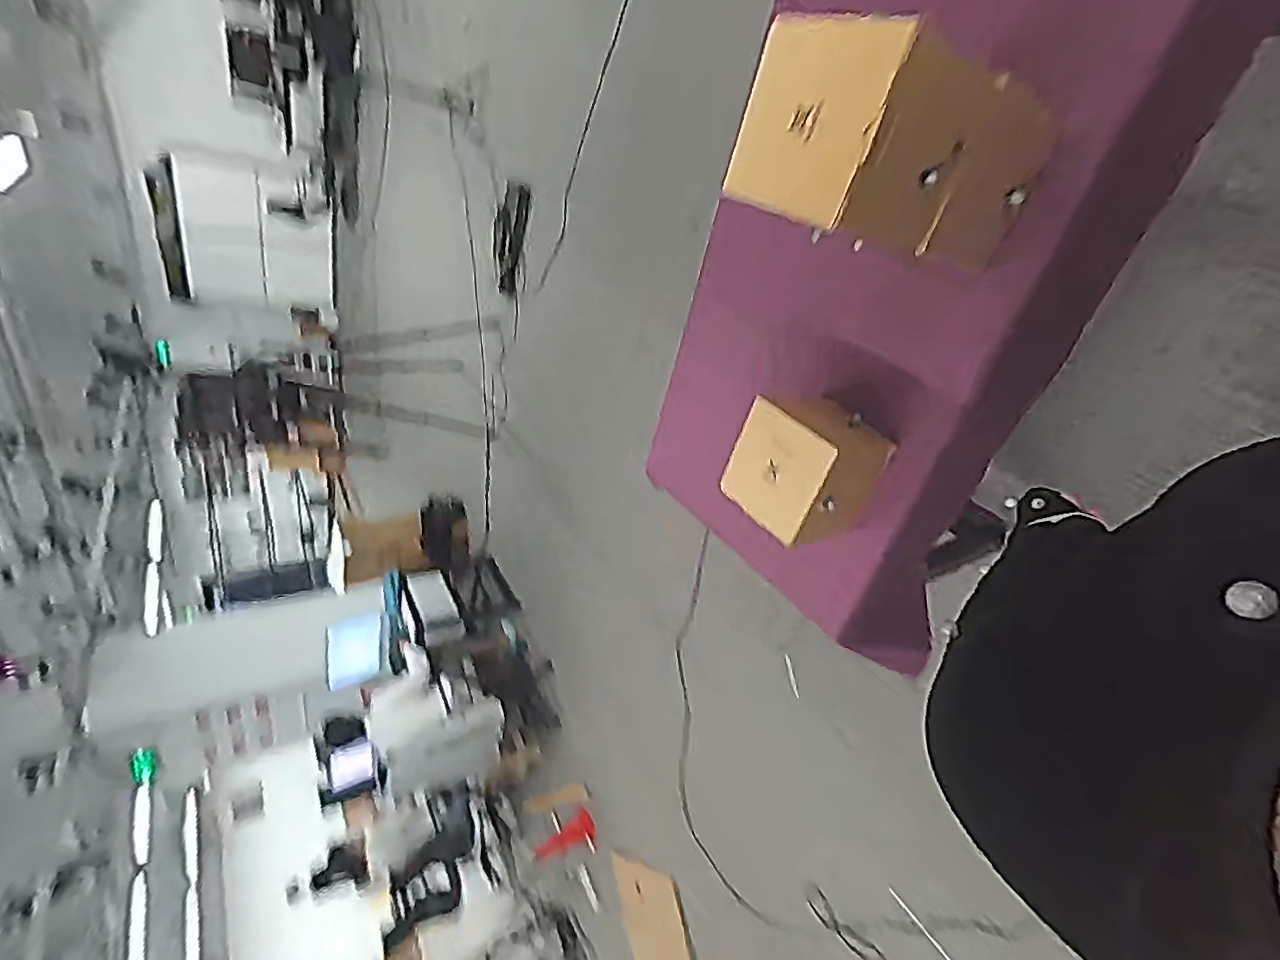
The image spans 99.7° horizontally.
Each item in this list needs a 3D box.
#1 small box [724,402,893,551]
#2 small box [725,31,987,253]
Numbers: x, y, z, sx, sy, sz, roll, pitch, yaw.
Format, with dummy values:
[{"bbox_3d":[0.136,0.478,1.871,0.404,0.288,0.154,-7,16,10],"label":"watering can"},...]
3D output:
[{"bbox_3d":[0.273,-0.013,0.878,0.168,0.176,0.179,45,128,39],"label":"small box"},{"bbox_3d":[0.232,-0.365,0.600,0.179,0.176,0.168,44,129,39],"label":"small box"}]
